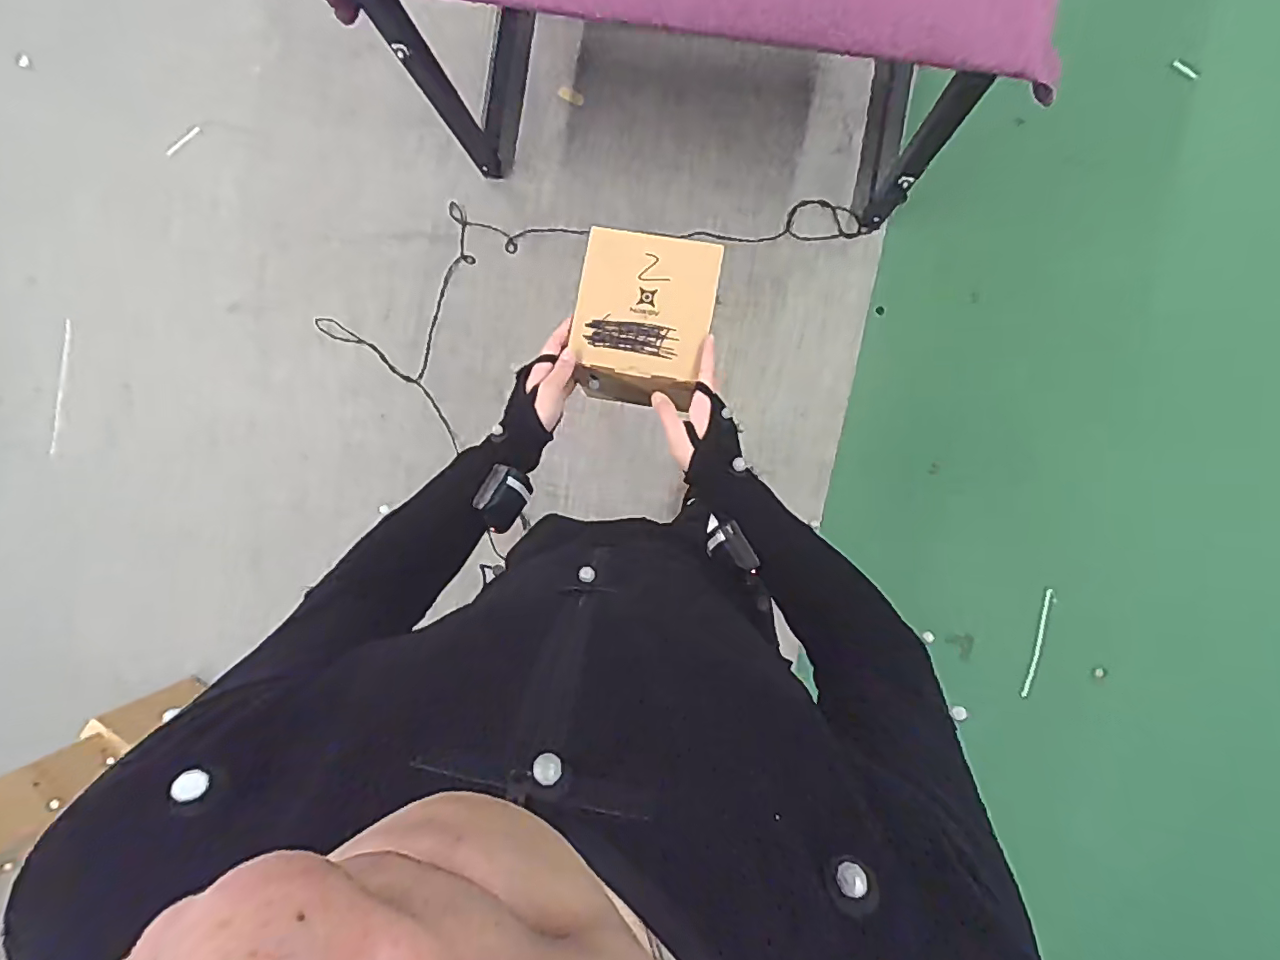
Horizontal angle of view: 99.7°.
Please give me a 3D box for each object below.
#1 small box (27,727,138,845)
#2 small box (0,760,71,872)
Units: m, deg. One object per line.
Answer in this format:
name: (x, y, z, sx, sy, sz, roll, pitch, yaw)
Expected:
small box: (-1.486, 0.791, 1.410, 0.168, 0.176, 0.179, 41, 94, 1)
small box: (-1.491, 0.795, 1.246, 0.168, 0.176, 0.179, 41, 95, 1)
